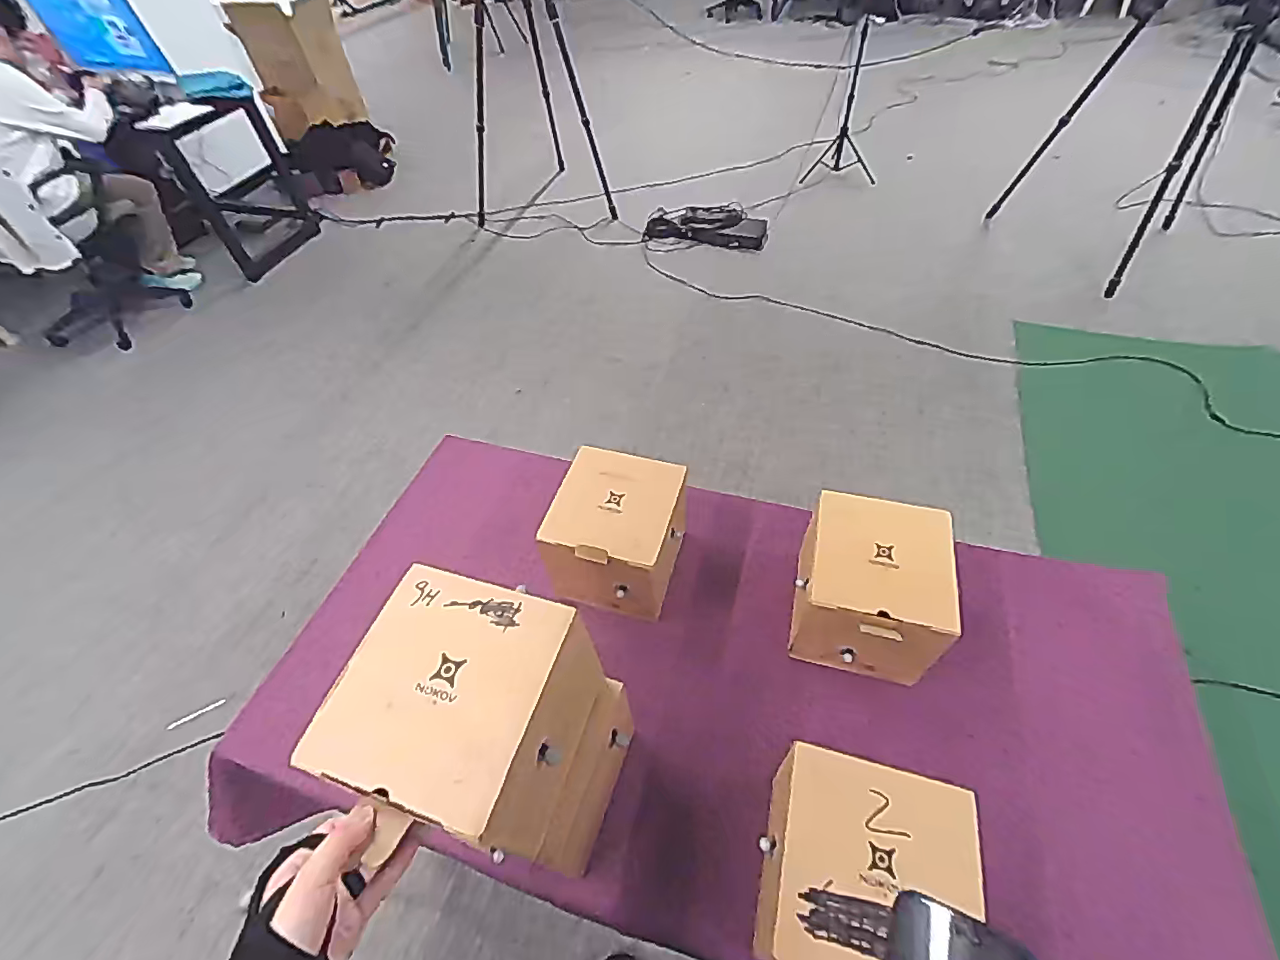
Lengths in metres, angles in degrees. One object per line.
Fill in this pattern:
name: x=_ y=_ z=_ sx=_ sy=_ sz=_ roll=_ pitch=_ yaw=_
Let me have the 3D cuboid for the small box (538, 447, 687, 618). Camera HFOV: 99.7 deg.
small box: x=-0.029 y=0.081 z=0.805 sx=0.168 sy=0.176 sz=0.179 roll=12 pitch=53 yaw=13

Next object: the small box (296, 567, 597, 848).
small box: x=-0.148 y=0.209 z=0.491 sx=0.168 sy=0.176 sz=0.179 roll=11 pitch=56 yaw=14

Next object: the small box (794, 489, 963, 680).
small box: x=0.308 y=0.141 z=0.728 sx=0.168 sy=0.176 sz=0.179 roll=10 pitch=53 yaw=13

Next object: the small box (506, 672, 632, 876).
small box: x=-0.114 y=0.316 z=0.617 sx=0.168 sy=0.176 sz=0.179 roll=14 pitch=53 yaw=16
